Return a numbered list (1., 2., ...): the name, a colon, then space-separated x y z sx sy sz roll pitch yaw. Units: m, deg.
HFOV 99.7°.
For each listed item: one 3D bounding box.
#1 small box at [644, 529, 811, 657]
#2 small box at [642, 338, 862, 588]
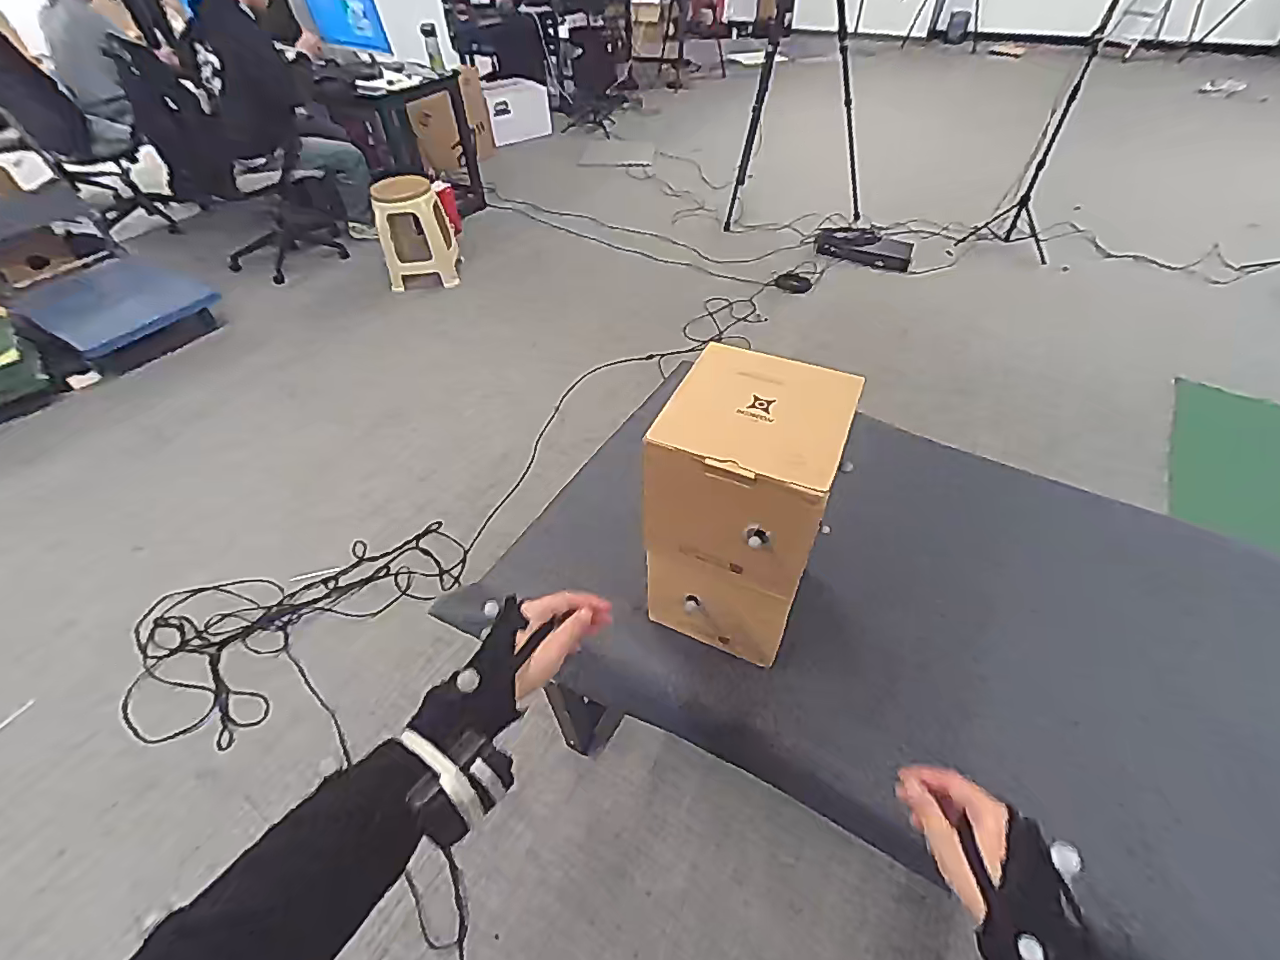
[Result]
1. small box: 0.117 0.093 0.686 0.168 0.176 0.179 19 50 18
2. small box: 0.112 -0.017 0.567 0.168 0.176 0.179 19 49 16
